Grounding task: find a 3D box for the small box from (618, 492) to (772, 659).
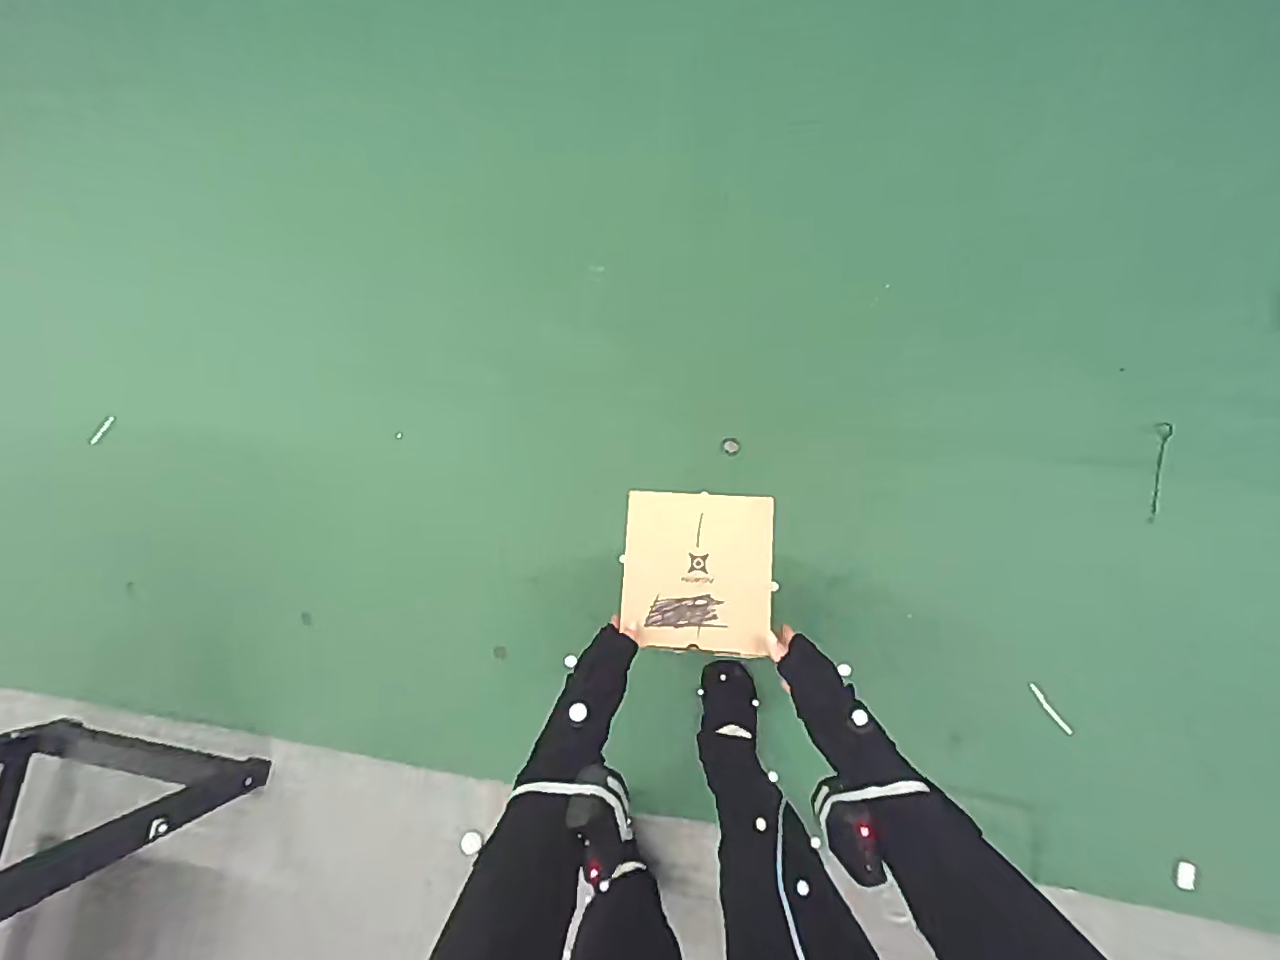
[{"bbox_3d":[0.070,0.117,0.684,0.168,0.176,0.179,3,80,6],"label":"small box"}]
